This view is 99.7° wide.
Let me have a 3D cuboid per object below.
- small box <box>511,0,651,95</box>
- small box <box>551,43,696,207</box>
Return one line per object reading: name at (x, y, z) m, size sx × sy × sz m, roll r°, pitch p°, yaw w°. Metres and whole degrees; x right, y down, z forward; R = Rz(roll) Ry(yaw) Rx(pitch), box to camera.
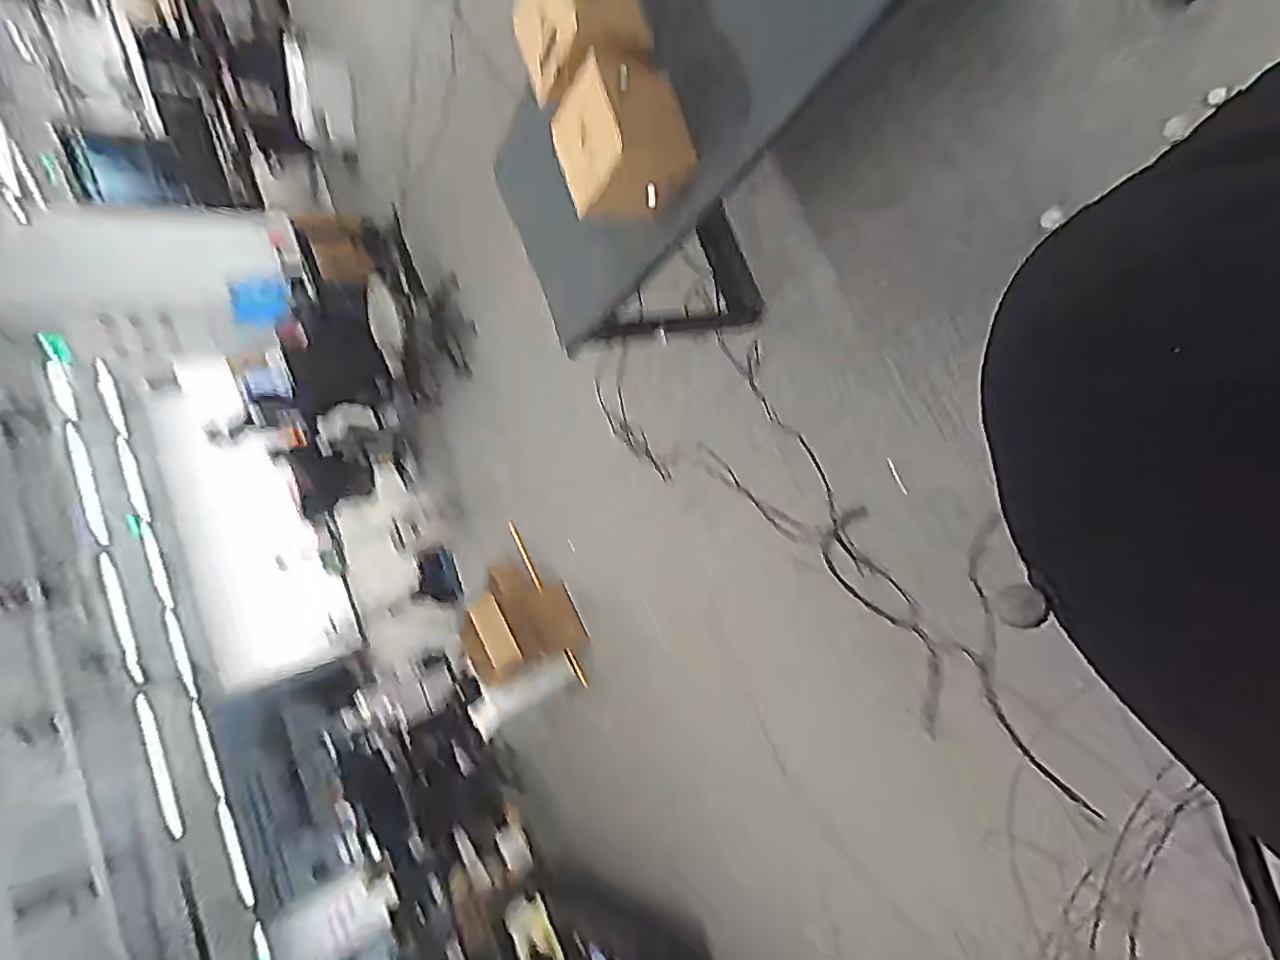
small box at (-0.105, -0.835, 0.982) m, size 0.168 × 0.176 × 0.179 m, roll -24°, pitch 85°, yaw 54°
small box at (-0.029, -0.619, 0.970) m, size 0.168 × 0.176 × 0.179 m, roll -24°, pitch 84°, yaw 54°
